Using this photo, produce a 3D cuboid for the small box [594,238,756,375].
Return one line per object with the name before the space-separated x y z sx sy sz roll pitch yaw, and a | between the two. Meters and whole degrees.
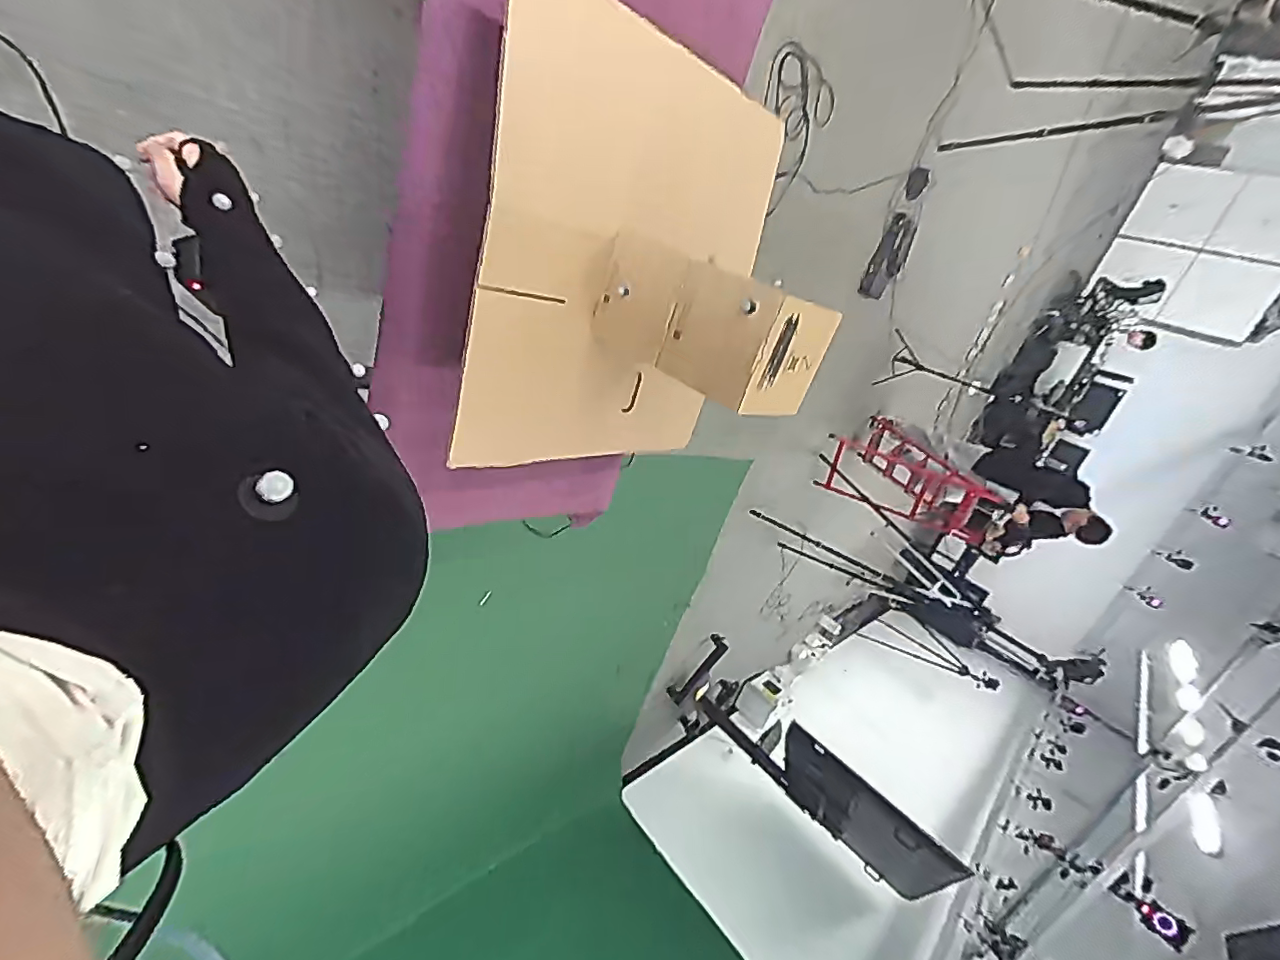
small box | 0.055 -0.289 0.908 0.179 0.176 0.168 -6 124 -46
